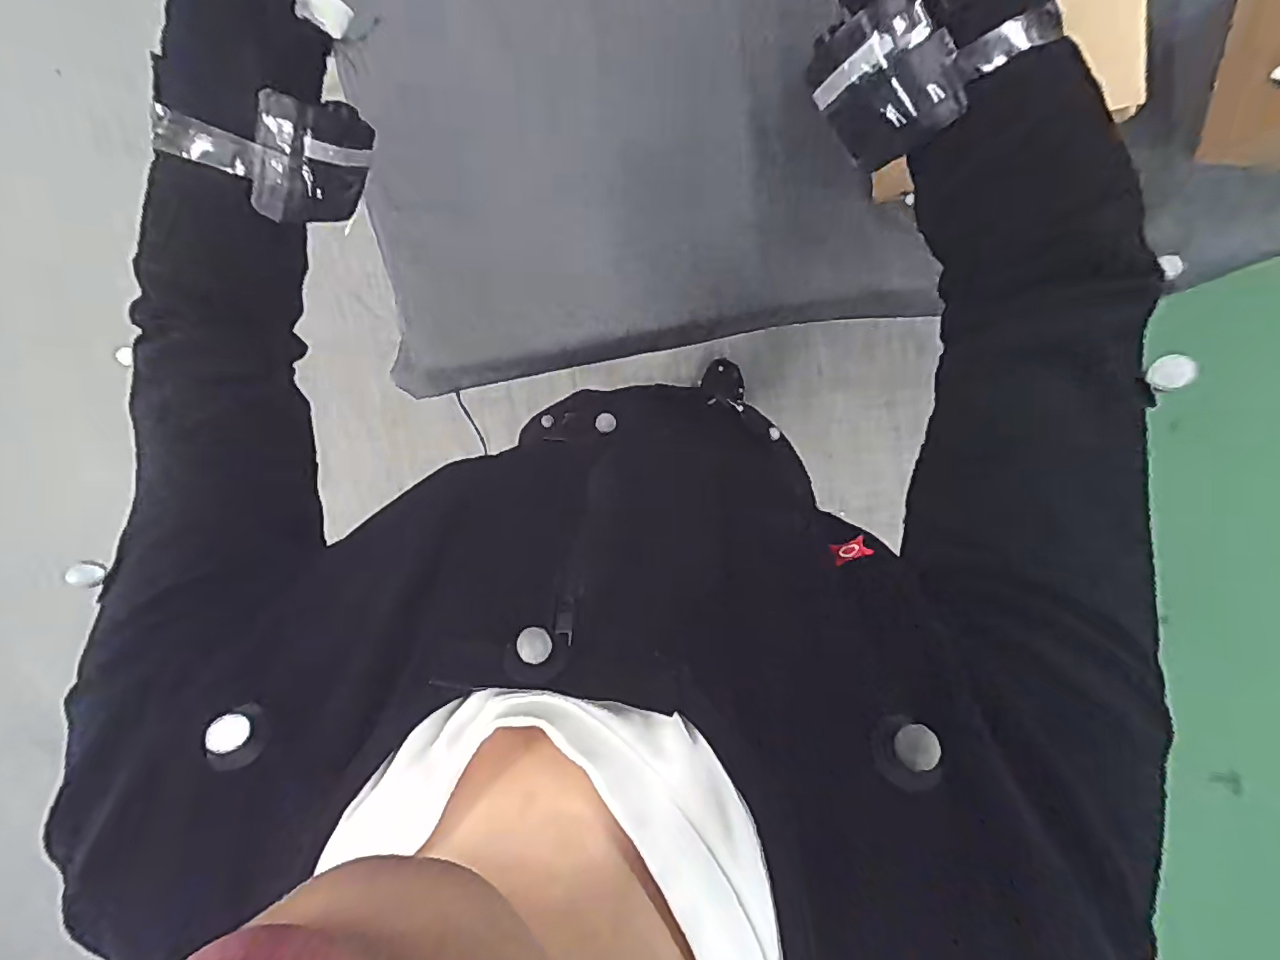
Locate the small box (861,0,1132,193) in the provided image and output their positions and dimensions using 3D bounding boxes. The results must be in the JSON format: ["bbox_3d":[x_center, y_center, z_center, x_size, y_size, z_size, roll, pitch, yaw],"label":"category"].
[{"bbox_3d":[0.326,-0.400,0.527,0.168,0.176,0.179,-5,100,7],"label":"small box"}]
